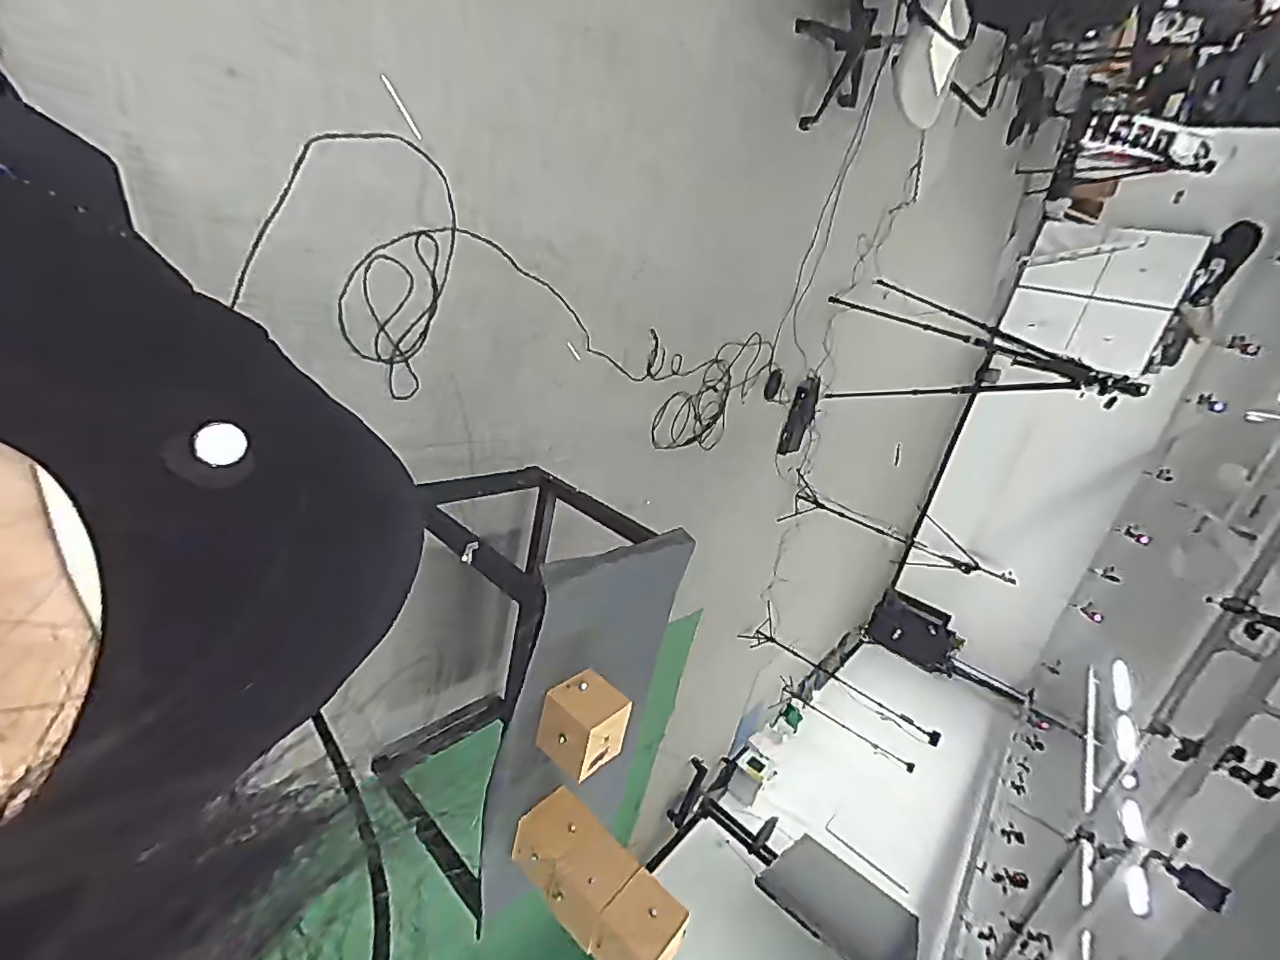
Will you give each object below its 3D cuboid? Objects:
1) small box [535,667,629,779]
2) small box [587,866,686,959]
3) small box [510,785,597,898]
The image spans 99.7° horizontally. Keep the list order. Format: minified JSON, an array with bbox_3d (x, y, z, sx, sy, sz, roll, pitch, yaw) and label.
[{"bbox_3d":[-0.160,0.638,1.440,0.168,0.176,0.179,-10,119,-51],"label":"small box"},{"bbox_3d":[-0.010,1.167,1.404,0.179,0.176,0.168,-16,124,-50],"label":"small box"},{"bbox_3d":[-0.258,1.049,1.584,0.179,0.176,0.168,-12,121,-51],"label":"small box"}]
